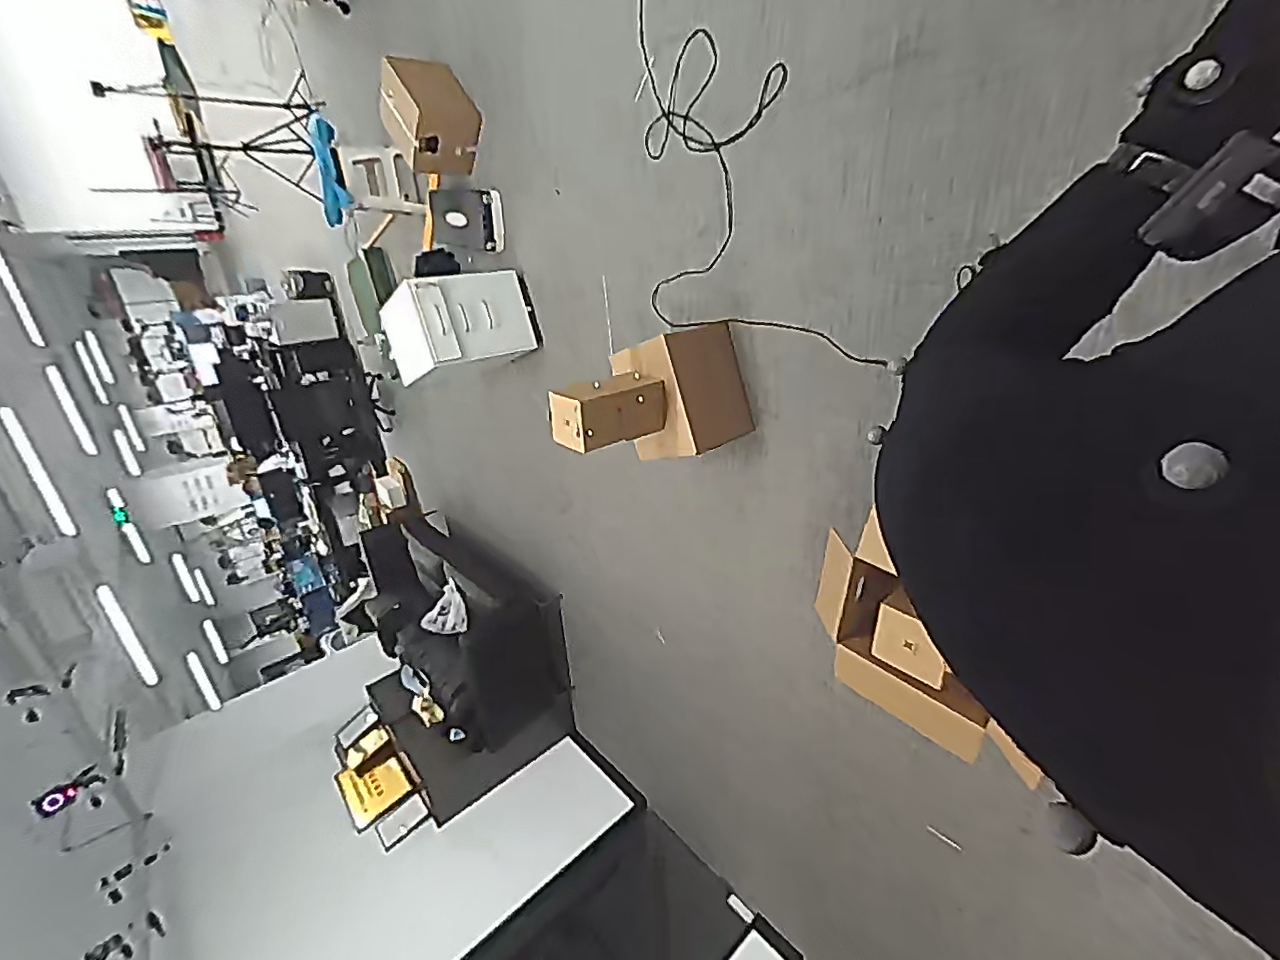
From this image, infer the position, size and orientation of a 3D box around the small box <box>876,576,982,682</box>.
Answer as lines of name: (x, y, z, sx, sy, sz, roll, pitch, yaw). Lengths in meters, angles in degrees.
small box: (0.737, 0.368, 1.378, 0.179, 0.176, 0.168, 24, 124, 44)

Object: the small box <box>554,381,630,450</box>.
small box: (-0.150, -0.211, 1.717, 0.179, 0.176, 0.168, 25, 127, 45)
